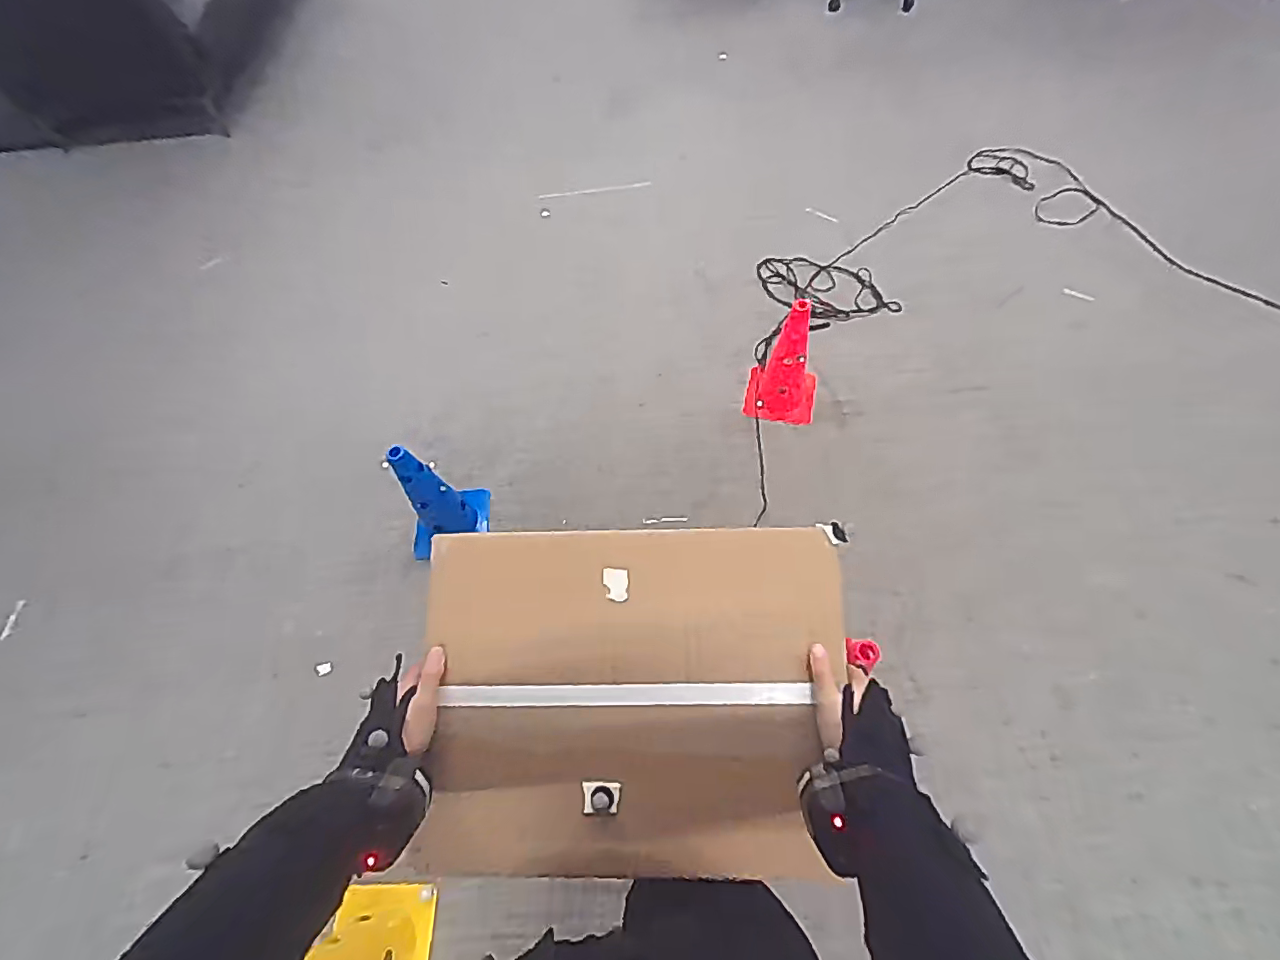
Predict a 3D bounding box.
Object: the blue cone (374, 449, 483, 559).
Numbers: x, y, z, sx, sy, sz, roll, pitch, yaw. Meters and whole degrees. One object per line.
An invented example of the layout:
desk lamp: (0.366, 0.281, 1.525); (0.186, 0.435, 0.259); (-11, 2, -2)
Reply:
blue cone: (-0.542, 0.039, 1.344); (0.192, 0.380, 0.193); (-5, 58, 2)

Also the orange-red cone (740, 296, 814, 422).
orange-red cone: (0.402, -0.351, 1.472); (0.199, 0.360, 0.198); (13, 62, 11)
